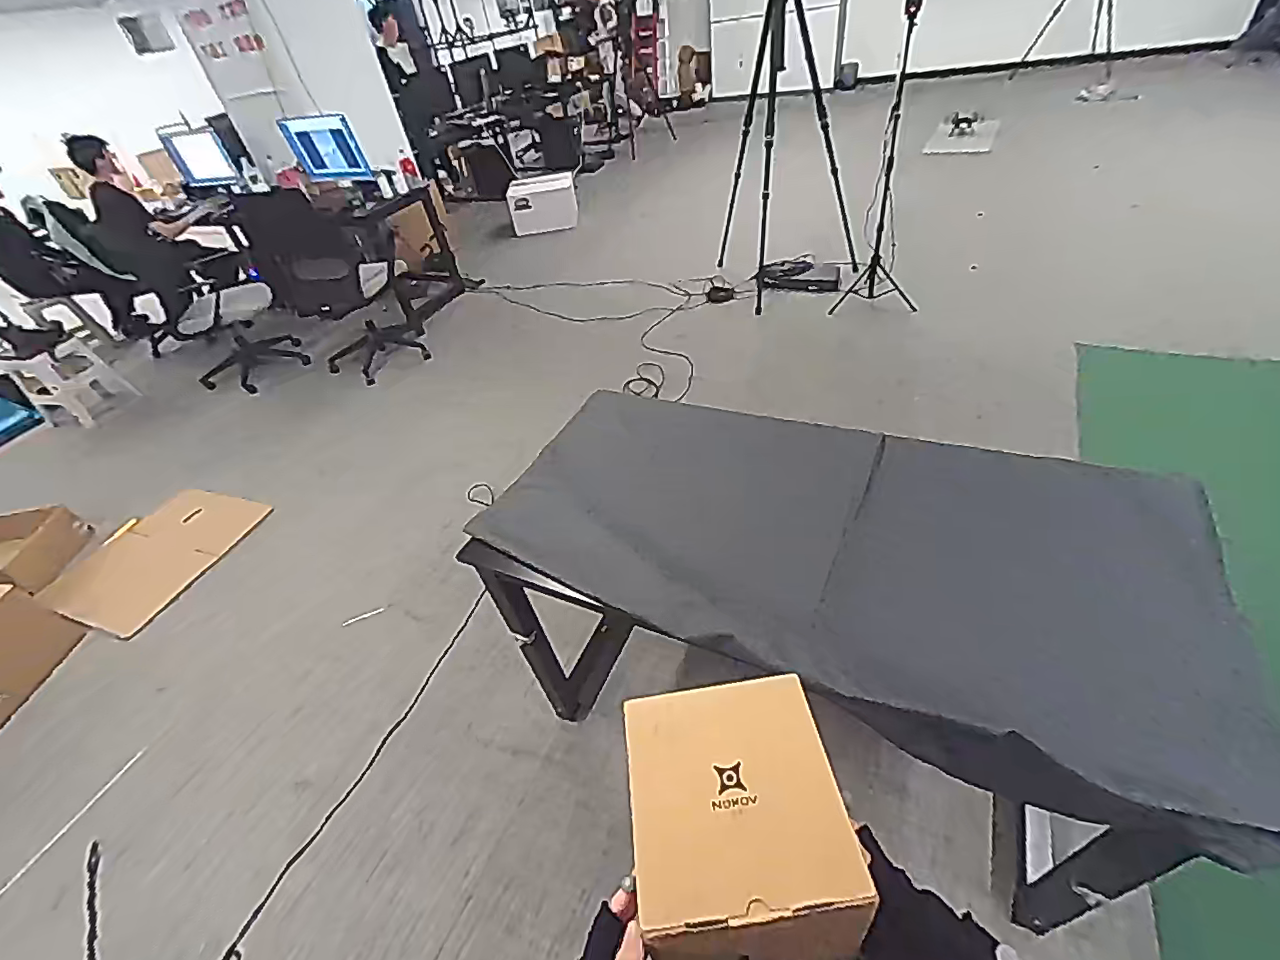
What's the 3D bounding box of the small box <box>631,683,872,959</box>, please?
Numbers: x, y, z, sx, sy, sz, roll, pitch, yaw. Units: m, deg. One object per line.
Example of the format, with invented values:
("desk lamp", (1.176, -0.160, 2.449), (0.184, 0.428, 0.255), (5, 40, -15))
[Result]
("small box", (0.086, 0.318, 0.494), (0.168, 0.176, 0.179), (-9, 38, 1))
